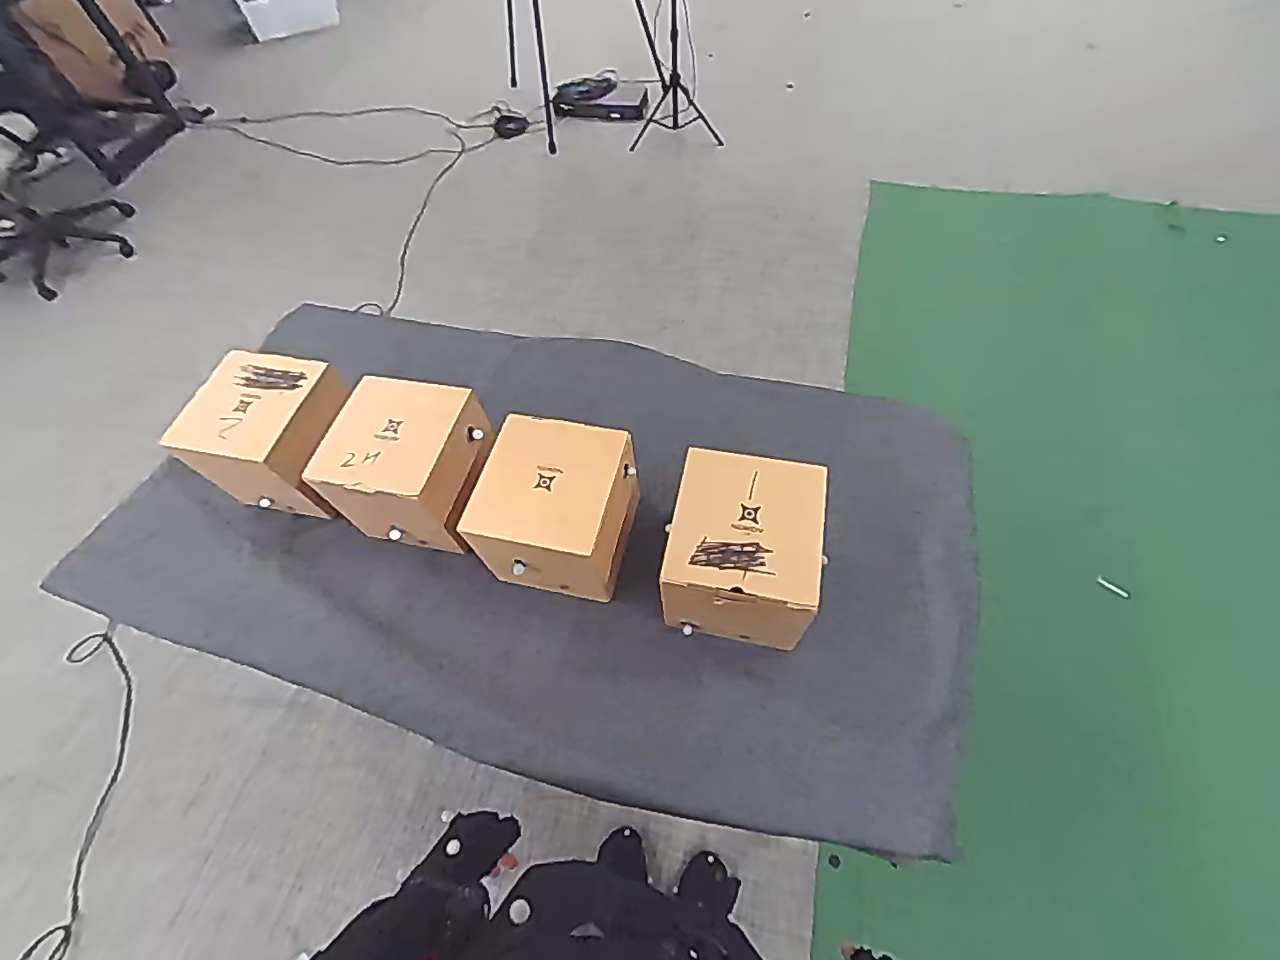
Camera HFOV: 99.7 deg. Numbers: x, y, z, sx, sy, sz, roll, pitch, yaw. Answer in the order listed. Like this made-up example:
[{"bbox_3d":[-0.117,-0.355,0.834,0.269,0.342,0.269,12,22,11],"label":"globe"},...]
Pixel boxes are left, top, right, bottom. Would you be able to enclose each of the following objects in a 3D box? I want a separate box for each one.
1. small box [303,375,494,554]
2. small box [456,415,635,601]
[{"bbox_3d":[-0.316,-0.019,0.763,0.168,0.176,0.179,9,60,10],"label":"small box"},{"bbox_3d":[-0.106,0.042,0.710,0.168,0.176,0.179,9,59,11],"label":"small box"}]
